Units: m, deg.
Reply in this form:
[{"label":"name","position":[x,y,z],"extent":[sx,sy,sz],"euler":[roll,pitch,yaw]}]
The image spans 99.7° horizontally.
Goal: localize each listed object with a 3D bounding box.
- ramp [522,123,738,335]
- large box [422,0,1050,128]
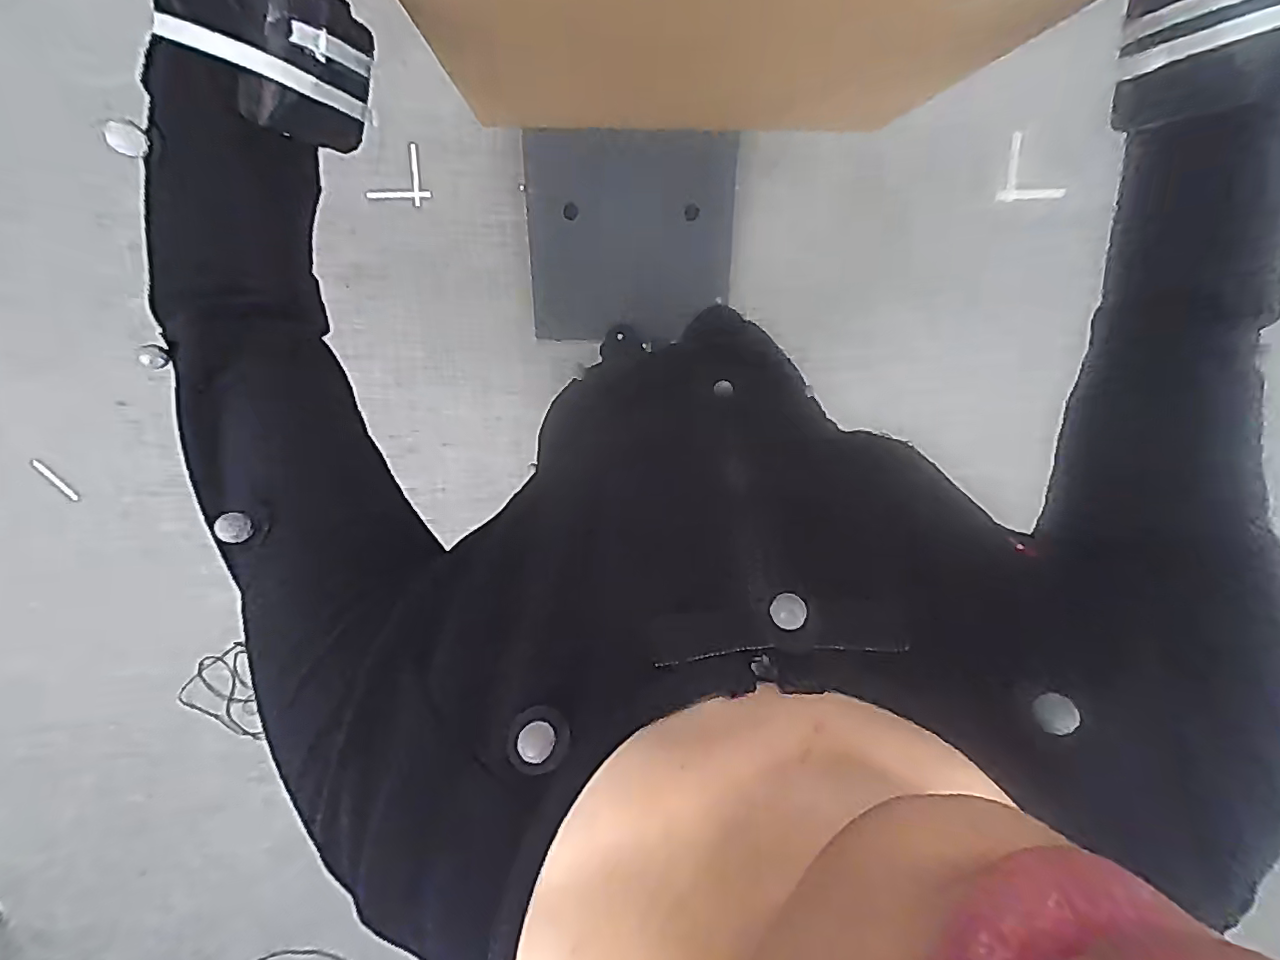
[{"label":"ramp","position":[-0.019,-0.838,1.206],"extent":[0.509,0.206,0.991],"euler":[-3,103,-2]},{"label":"large box","position":[0.053,-0.457,0.359],"extent":[0.408,0.320,0.320],"euler":[-3,109,-5]}]
